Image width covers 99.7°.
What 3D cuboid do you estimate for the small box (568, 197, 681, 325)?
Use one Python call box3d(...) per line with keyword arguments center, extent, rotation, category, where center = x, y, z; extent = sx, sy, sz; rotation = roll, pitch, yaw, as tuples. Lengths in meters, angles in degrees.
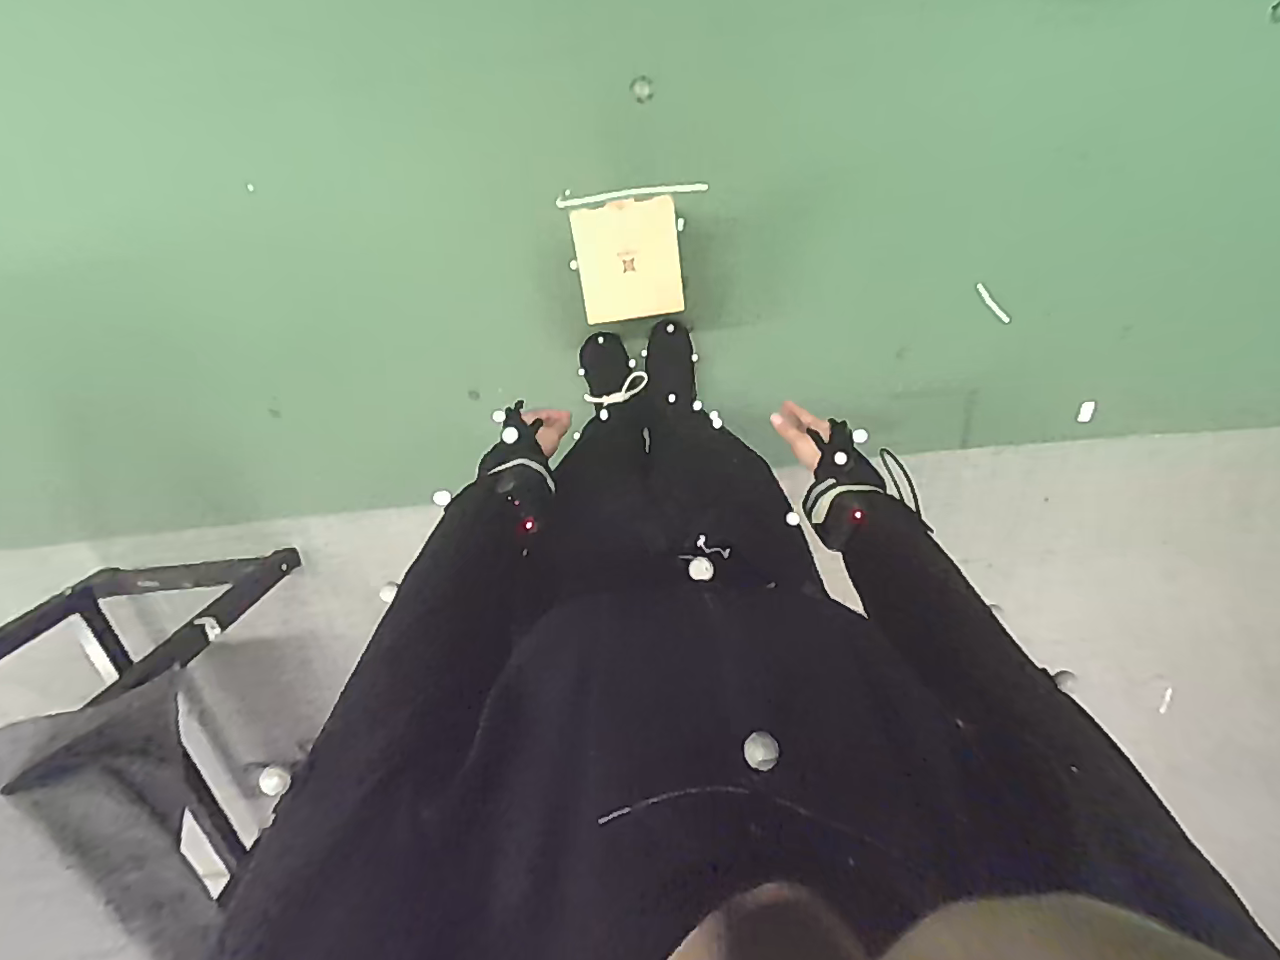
box3d(center=(-0.019, -0.379, 0.943), extent=(0.168, 0.176, 0.179), rotation=(-7, 112, 5), category="small box")
